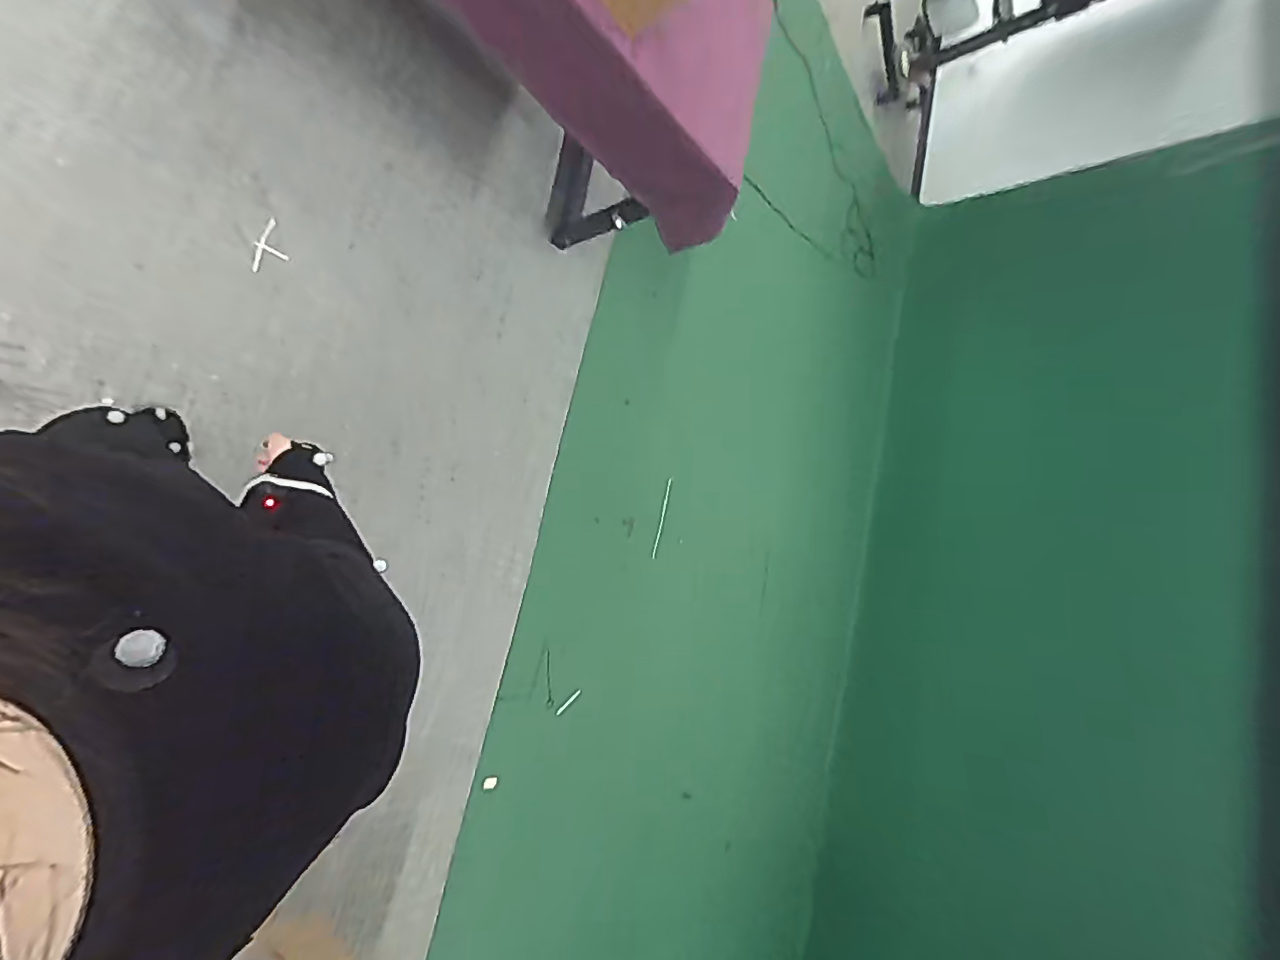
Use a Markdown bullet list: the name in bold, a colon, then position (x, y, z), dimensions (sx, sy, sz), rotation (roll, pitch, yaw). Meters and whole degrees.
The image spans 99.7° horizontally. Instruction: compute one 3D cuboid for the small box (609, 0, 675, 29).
- **small box**: position (0.007, -1.006, 1.004), dimensions (0.179, 0.176, 0.168), rotation (21, 77, -47)
